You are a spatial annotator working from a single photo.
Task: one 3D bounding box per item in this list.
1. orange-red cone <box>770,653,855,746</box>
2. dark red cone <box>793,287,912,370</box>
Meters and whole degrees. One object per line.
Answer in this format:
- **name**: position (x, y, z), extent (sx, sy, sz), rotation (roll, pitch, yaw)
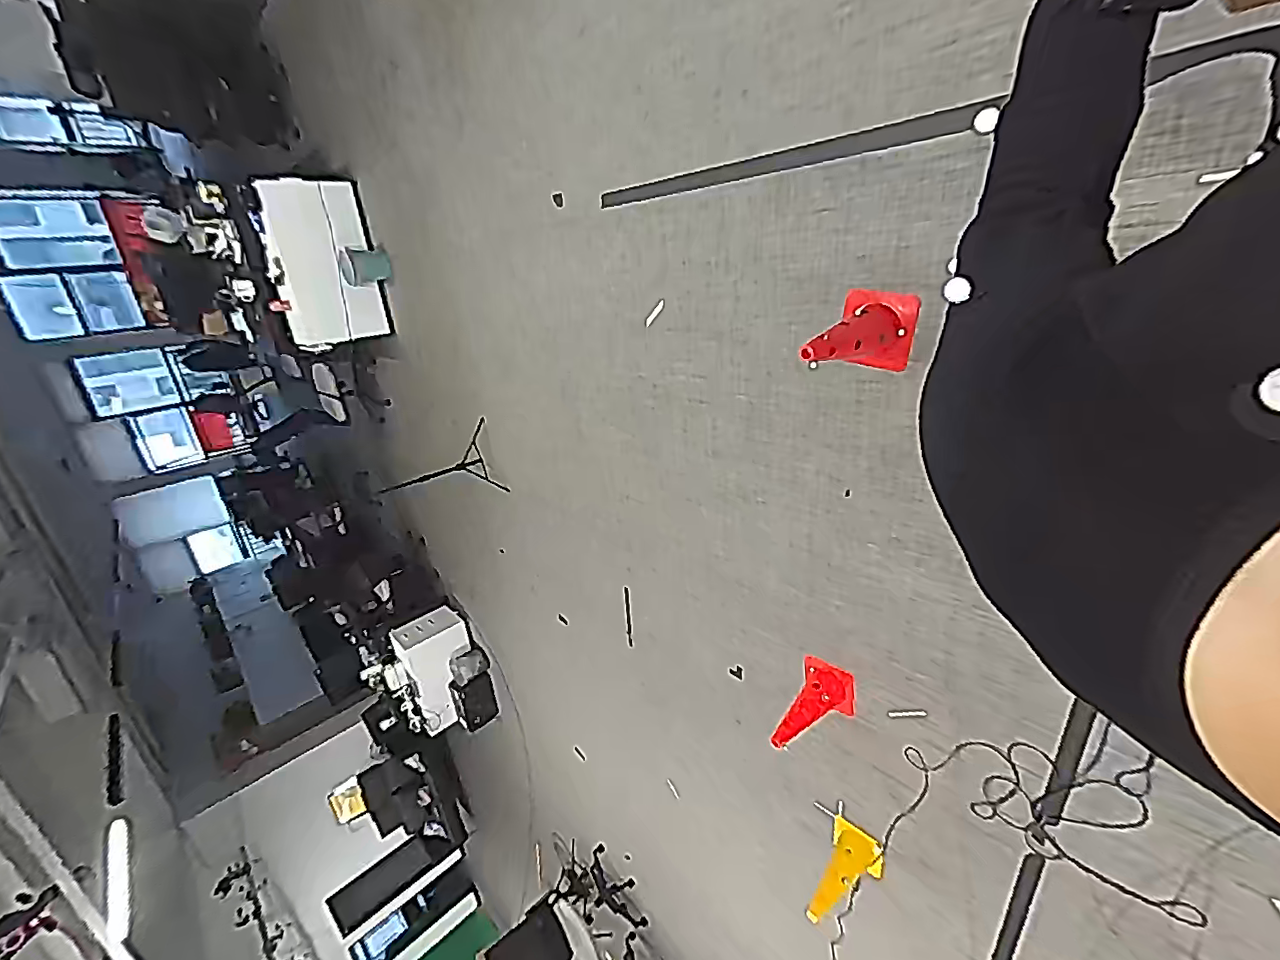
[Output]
- **orange-red cone**: position (0.580, 0.815, 1.909), extent (0.198, 0.360, 0.199), rotation (16, 122, 46)
- **dark red cone**: position (0.499, -0.354, 1.346), extent (0.201, 0.394, 0.202), rotation (24, 126, 40)
